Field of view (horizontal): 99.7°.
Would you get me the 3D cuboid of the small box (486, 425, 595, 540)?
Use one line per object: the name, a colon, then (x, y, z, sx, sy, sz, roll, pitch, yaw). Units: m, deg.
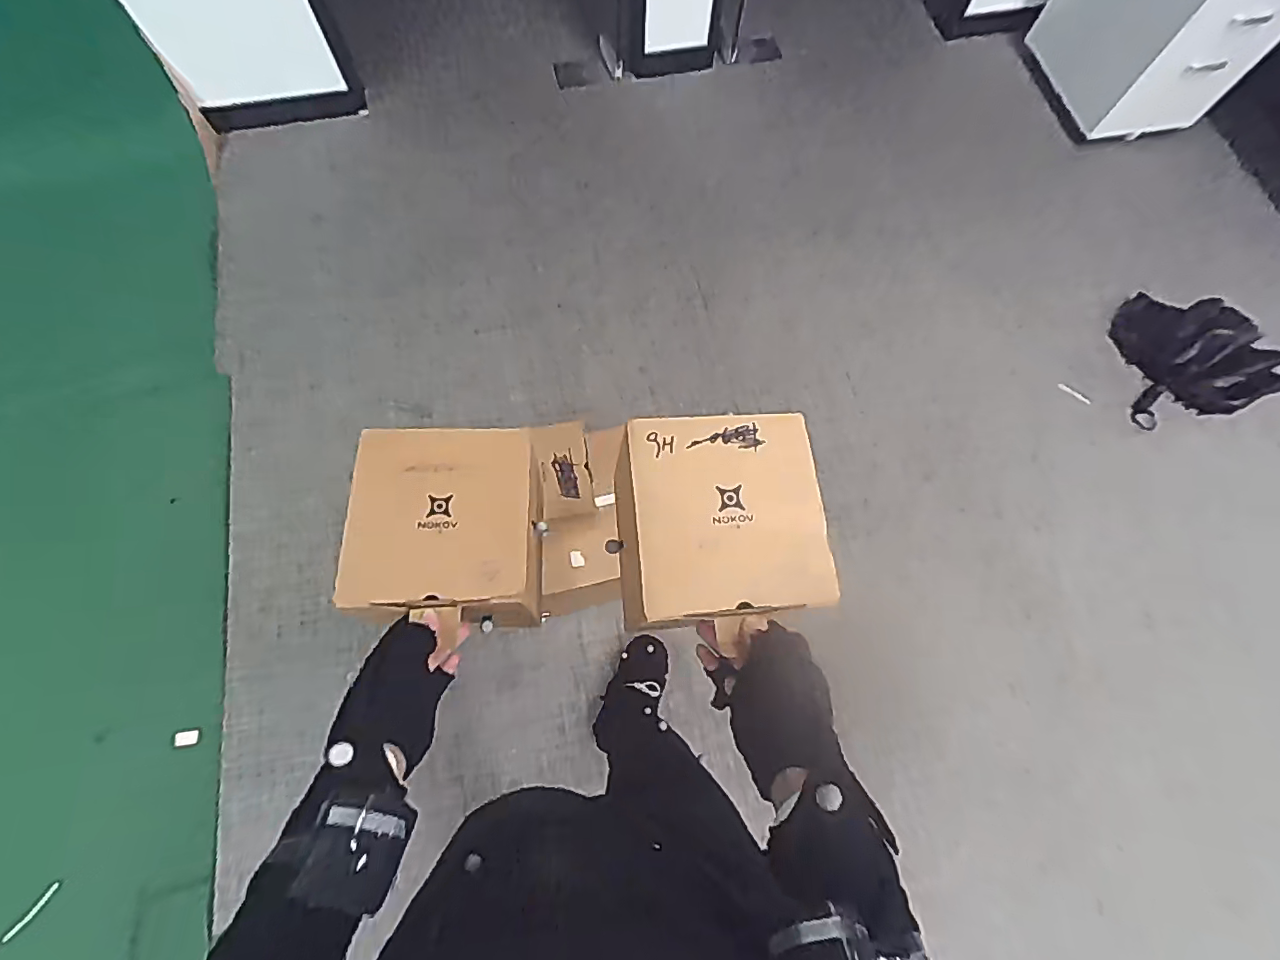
small box: (-0.174, 0.010, 0.984, 0.179, 0.176, 0.168, -6, 75, -5)
